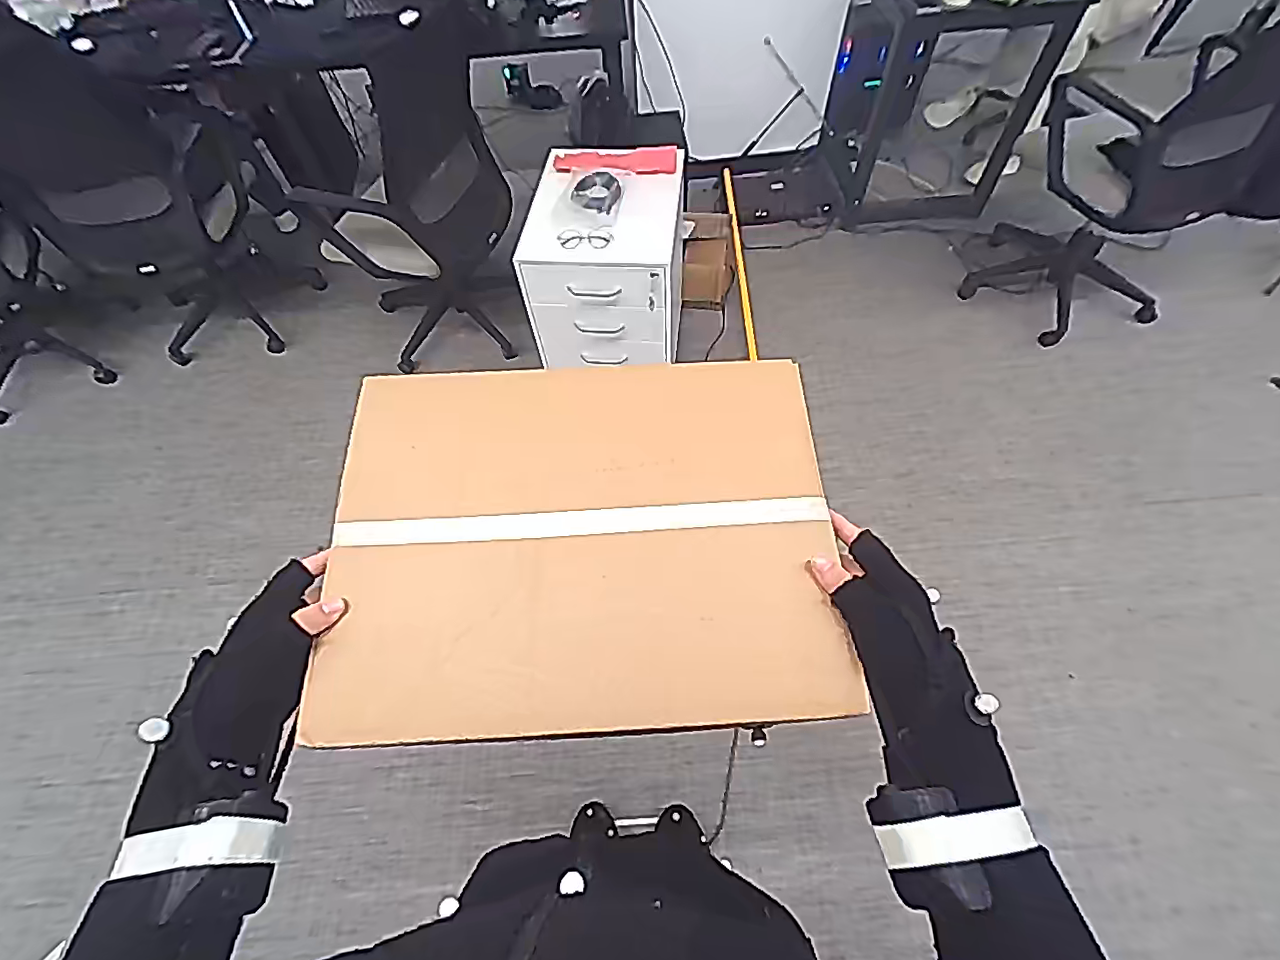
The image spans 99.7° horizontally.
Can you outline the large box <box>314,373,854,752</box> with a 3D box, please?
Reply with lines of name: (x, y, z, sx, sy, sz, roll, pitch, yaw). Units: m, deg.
large box: (-0.046, 0.106, 0.590, 0.408, 0.320, 0.320, -2, 64, -2)
